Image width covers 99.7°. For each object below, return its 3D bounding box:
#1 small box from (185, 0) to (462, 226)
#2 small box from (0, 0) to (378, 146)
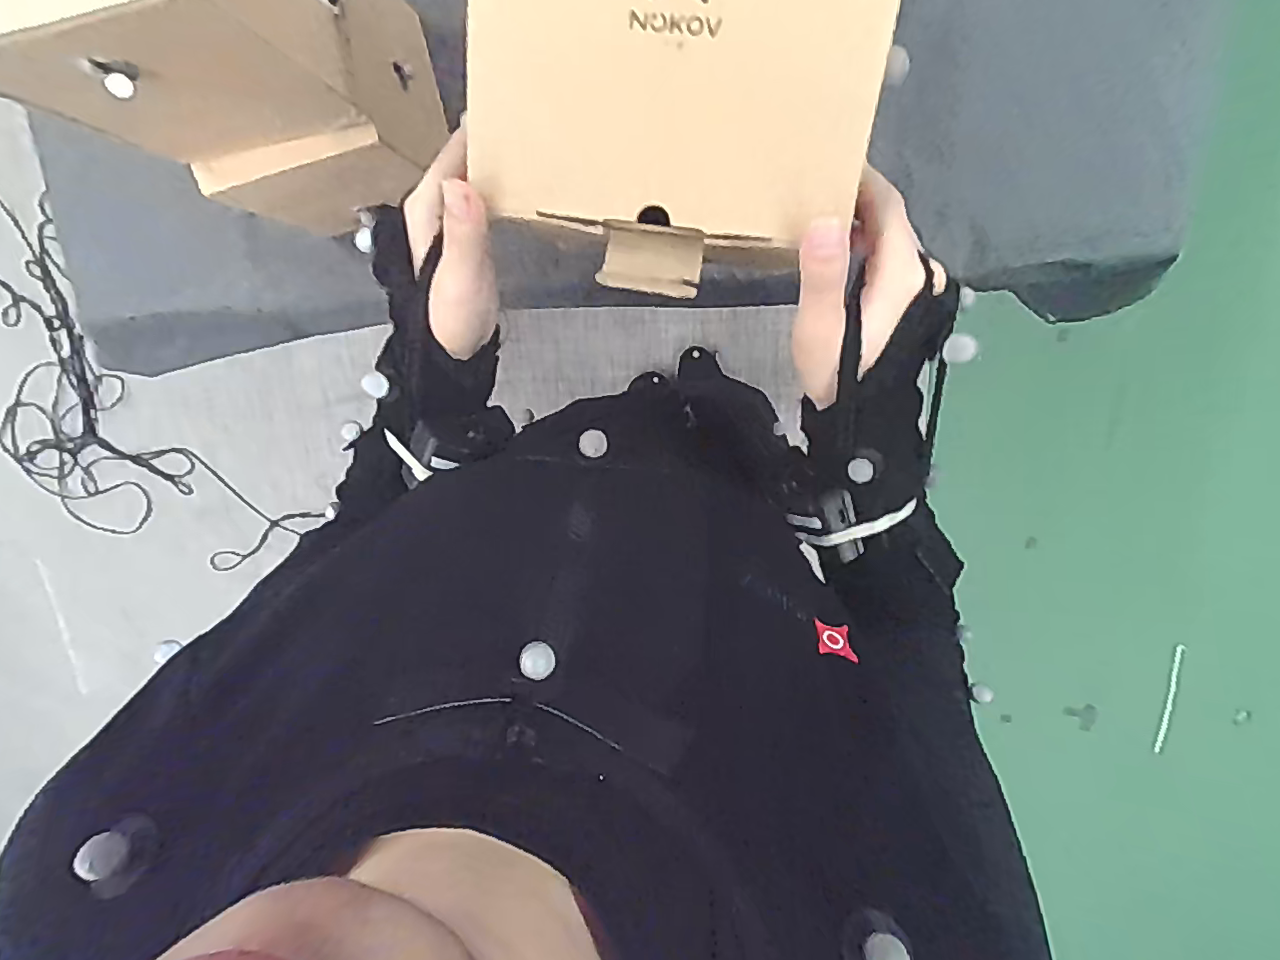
[{"bbox_3d":[-0.288,-0.354,0.489,0.168,0.176,0.179,-11,103,8],"label":"small box"},{"bbox_3d":[-0.300,-0.330,0.328,0.179,0.176,0.168,-7,105,6],"label":"small box"}]
